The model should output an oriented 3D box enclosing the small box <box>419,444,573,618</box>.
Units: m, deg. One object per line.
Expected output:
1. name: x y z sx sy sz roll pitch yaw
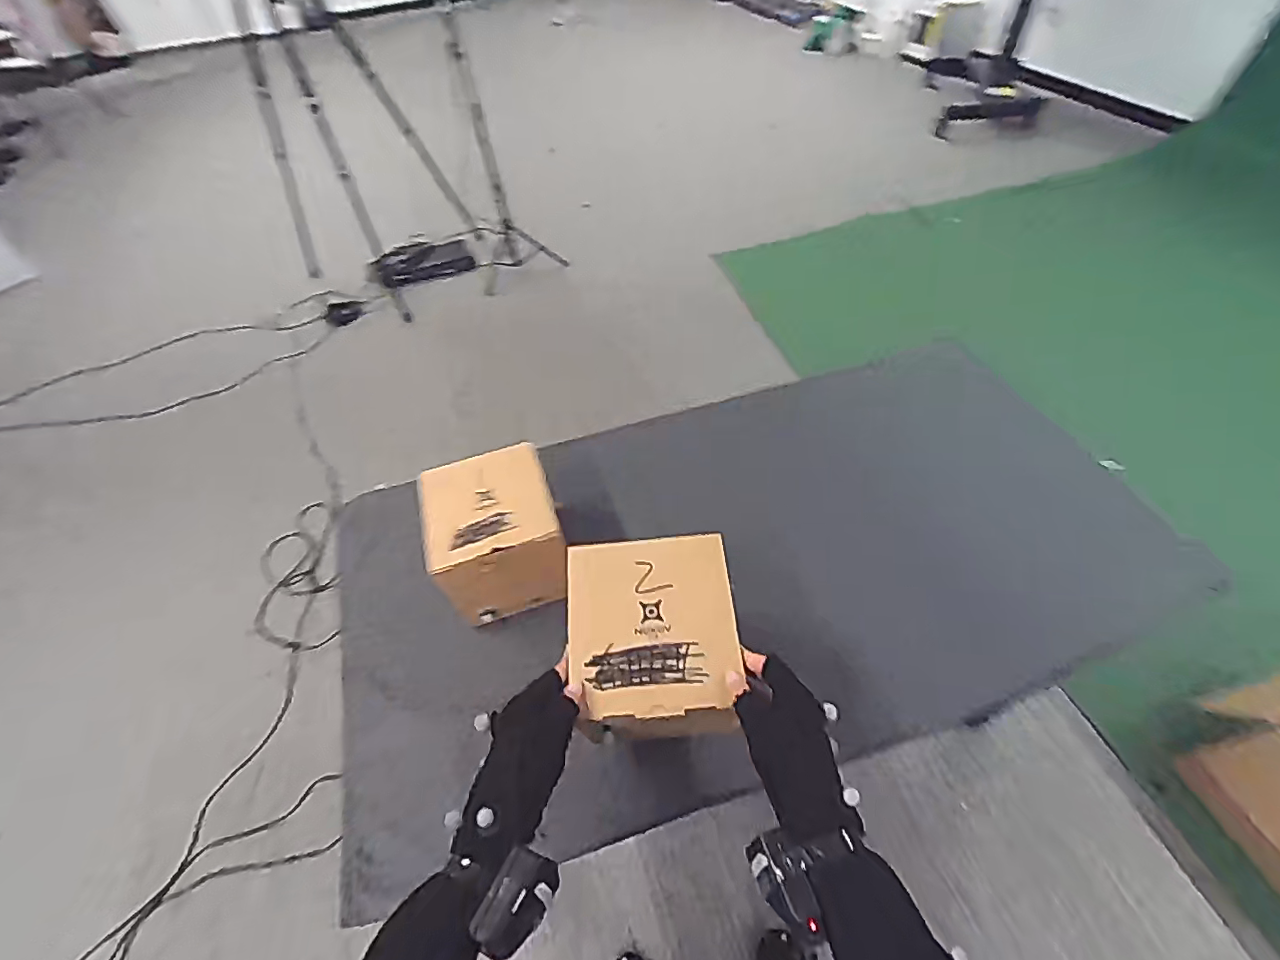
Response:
1. small box: -0.206 0.082 0.792 0.168 0.176 0.179 -17 51 -9
